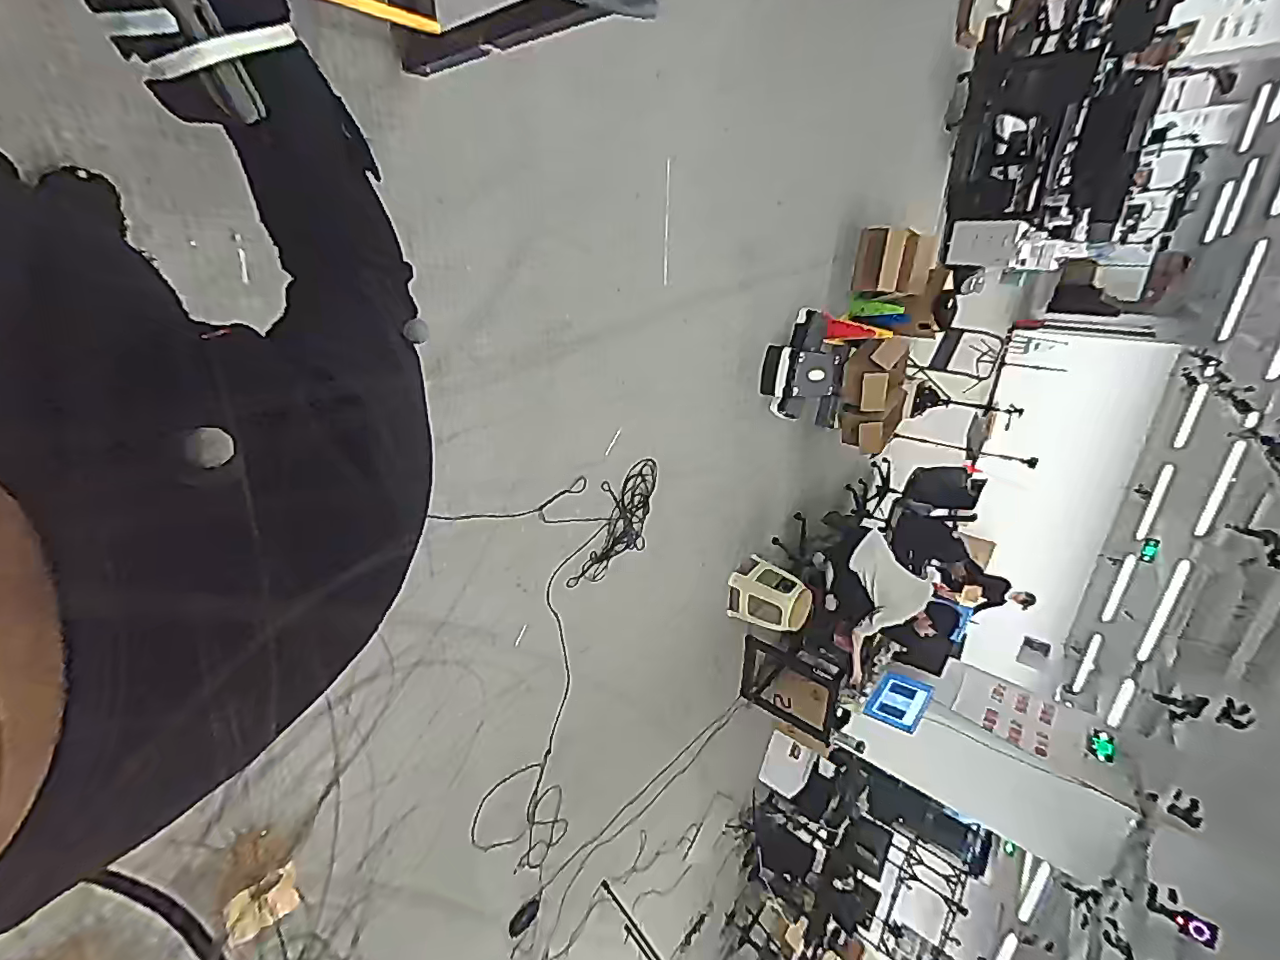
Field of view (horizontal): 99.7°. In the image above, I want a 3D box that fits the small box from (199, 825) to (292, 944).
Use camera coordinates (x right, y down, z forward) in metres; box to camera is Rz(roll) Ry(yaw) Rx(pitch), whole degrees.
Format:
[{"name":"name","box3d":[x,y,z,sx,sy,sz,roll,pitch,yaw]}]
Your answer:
[{"name":"small box","box3d":[-1.090,1.098,1.492,0.168,0.176,0.179,-13,116,-49]}]
